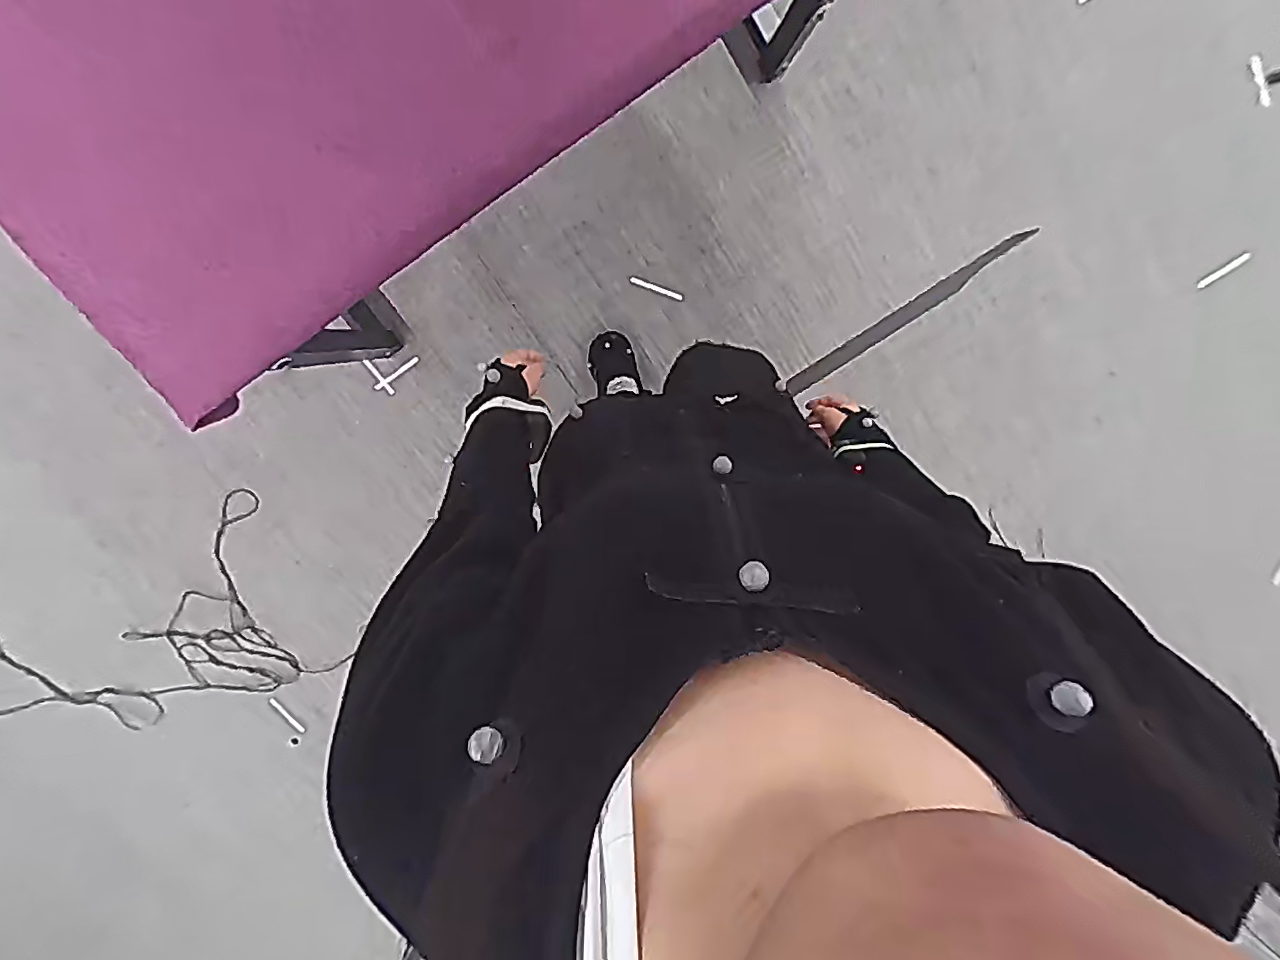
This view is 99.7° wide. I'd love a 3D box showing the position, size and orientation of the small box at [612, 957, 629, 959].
[{"bbox_3d":[-0.023,1.486,1.498,0.168,0.176,0.179,14,103,-7],"label":"small box"}]
